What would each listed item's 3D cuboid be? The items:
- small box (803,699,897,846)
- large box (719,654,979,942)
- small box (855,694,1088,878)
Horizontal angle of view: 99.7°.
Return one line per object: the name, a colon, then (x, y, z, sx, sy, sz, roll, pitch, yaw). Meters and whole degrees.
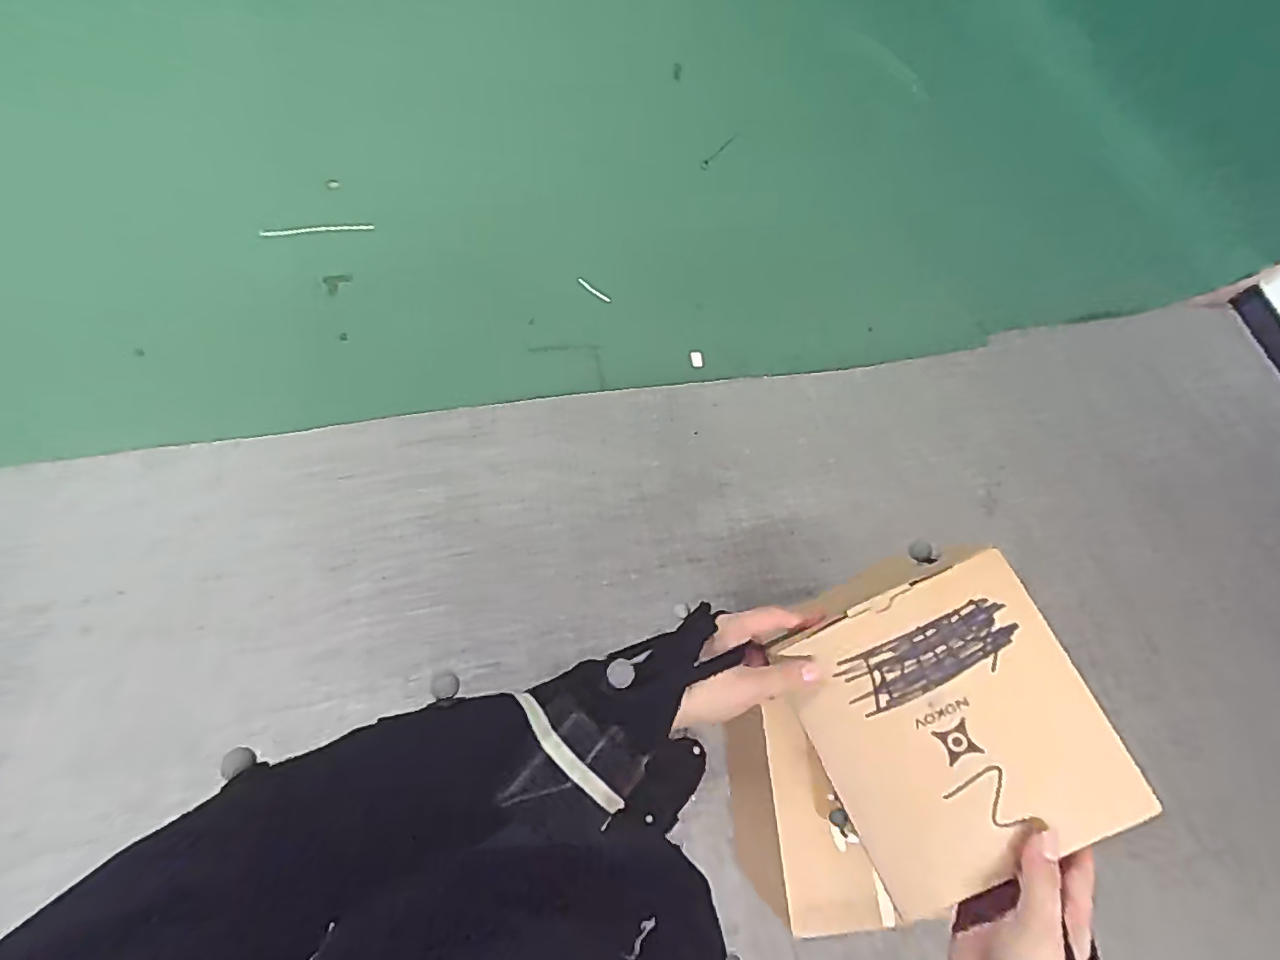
small box: (0.370, 0.438, 0.836, 0.168, 0.176, 0.179, -1, 68, -7)
large box: (0.358, 0.564, 1.046, 0.320, 0.320, 0.408, -3, 70, -5)
small box: (0.400, 0.372, 0.690, 0.168, 0.176, 0.179, -1, 69, -7)
